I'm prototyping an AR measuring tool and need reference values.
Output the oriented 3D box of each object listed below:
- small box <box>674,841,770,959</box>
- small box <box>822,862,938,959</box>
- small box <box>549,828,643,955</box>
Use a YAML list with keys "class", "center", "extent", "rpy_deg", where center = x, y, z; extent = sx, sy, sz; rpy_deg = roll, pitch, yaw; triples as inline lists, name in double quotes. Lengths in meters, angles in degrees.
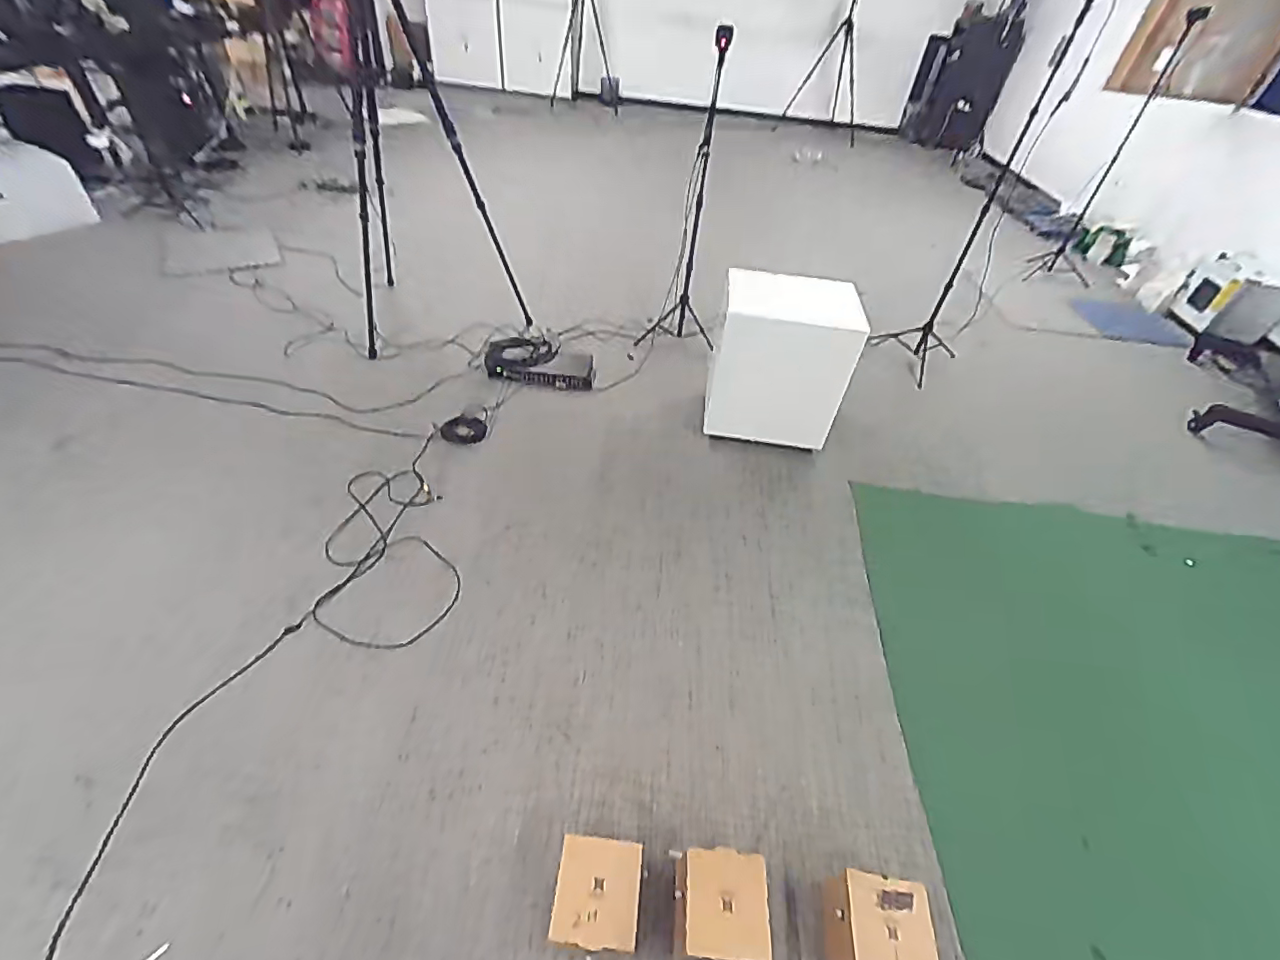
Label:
- class: "small box"
  center: [0.164, 0.883, 1.126]
  extent: [0.168, 0.176, 0.179]
  rpy_deg: [7, 44, -1]
- class: "small box"
  center: [0.487, 0.928, 1.121]
  extent: [0.168, 0.176, 0.179]
  rpy_deg: [9, 45, 3]
- class: "small box"
  center: [-0.089, 0.853, 1.121]
  extent: [0.168, 0.176, 0.179]
  rpy_deg: [7, 44, 1]
